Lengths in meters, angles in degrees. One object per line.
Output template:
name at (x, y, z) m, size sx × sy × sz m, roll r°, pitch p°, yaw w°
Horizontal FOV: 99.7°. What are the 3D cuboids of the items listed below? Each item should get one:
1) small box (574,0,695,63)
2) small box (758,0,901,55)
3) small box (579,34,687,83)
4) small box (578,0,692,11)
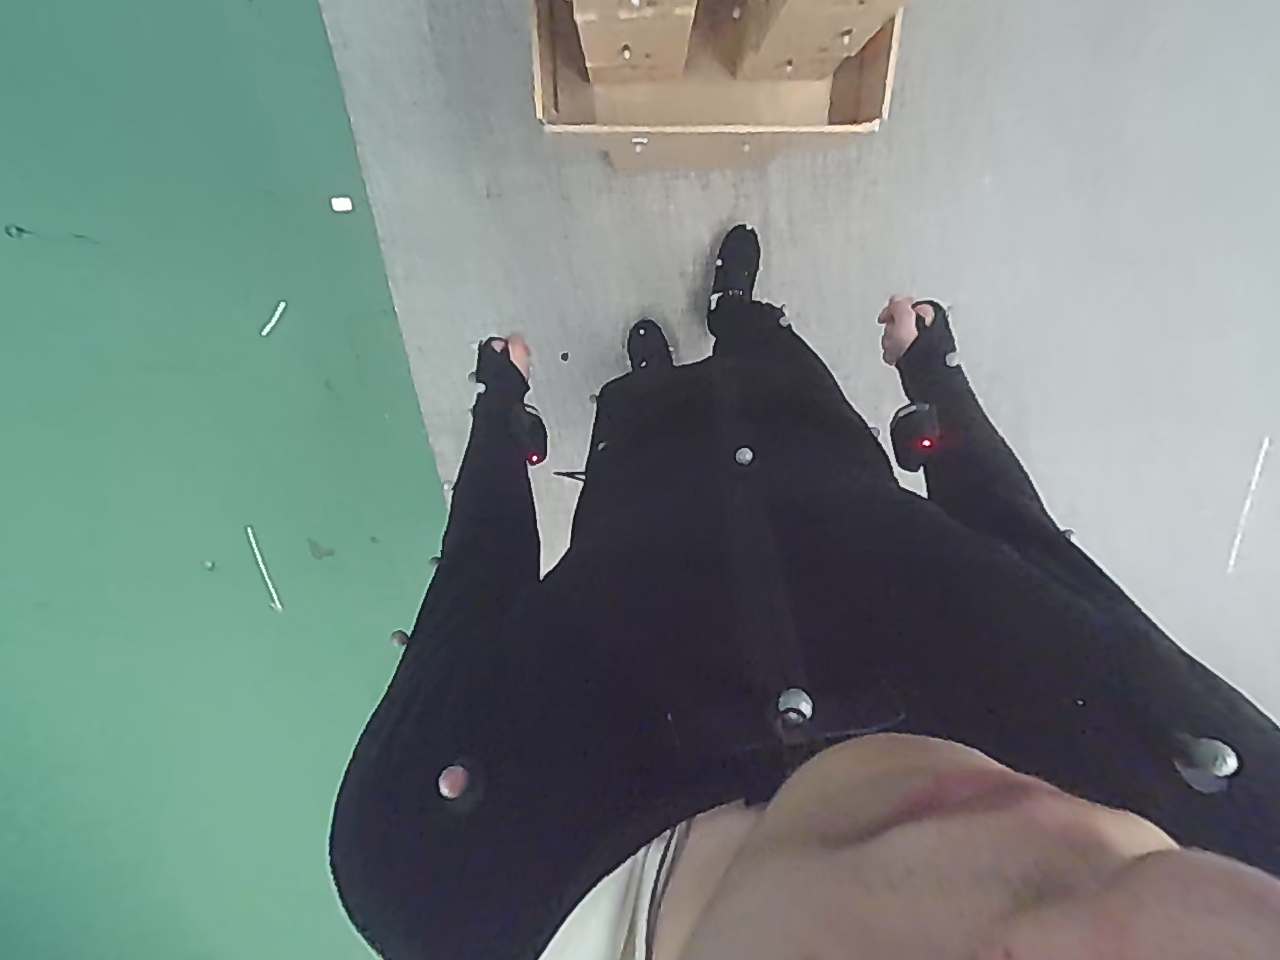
small box at (-0.013, -0.737, 0.775) m, size 0.168 × 0.176 × 0.179 m, roll -4°, pitch 110°, yaw 0°
small box at (0.269, -0.741, 0.774) m, size 0.168 × 0.176 × 0.179 m, roll -1°, pitch 109°, yaw -1°
small box at (-0.012, -0.802, 0.923) m, size 0.179 × 0.176 × 0.168 m, roll -2°, pitch 110°, yaw 1°
small box at (-0.010, -0.684, 0.618) m, size 0.168 × 0.176 × 0.179 m, roll -2°, pitch 110°, yaw 0°
